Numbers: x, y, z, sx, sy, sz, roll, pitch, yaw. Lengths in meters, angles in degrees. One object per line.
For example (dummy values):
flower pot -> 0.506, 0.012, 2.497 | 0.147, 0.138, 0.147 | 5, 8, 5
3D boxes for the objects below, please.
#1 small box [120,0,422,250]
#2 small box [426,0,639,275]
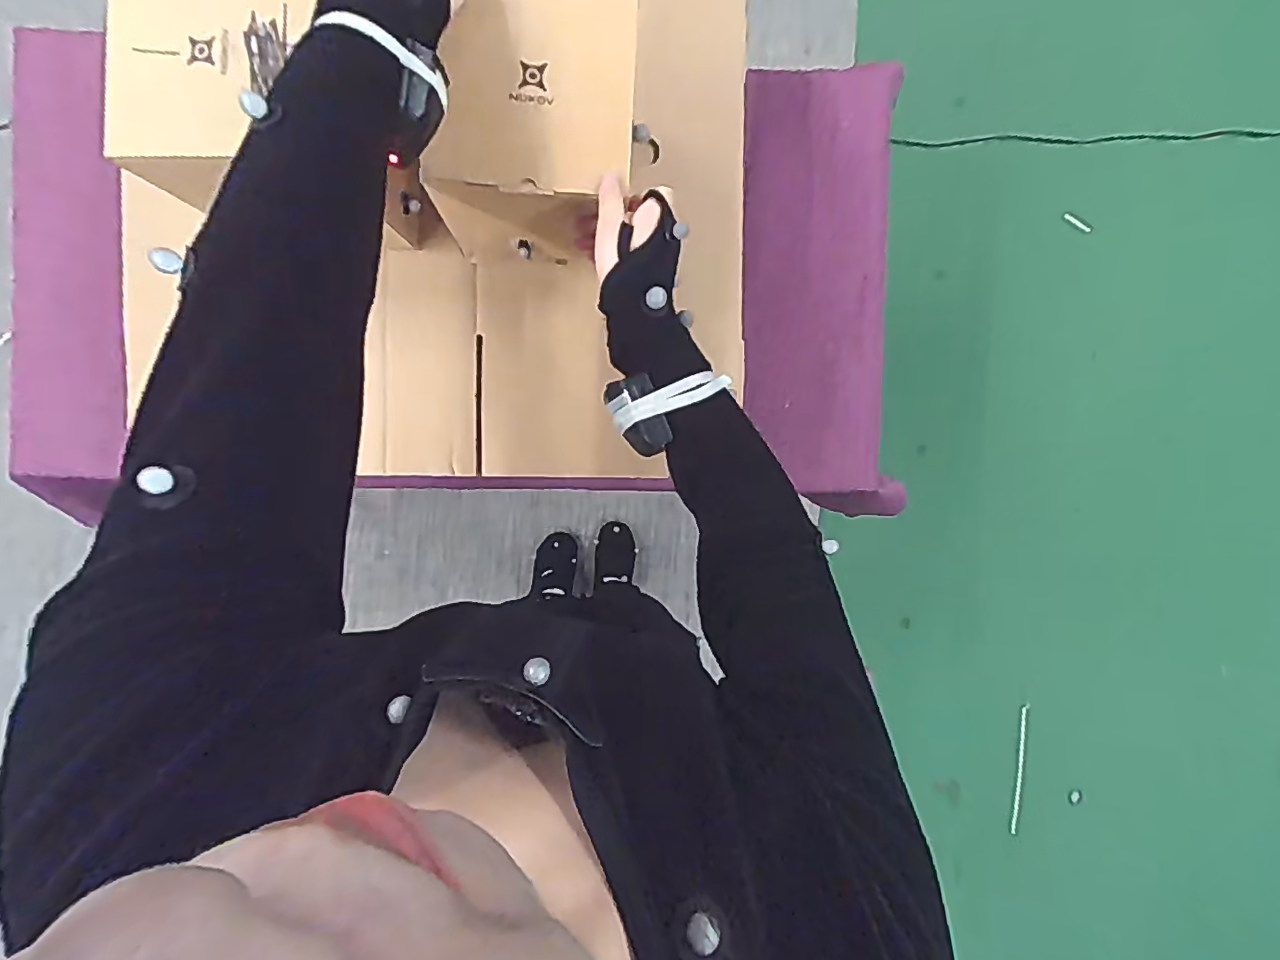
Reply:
small box -> -0.325, -0.332, 0.508 | 0.179, 0.176, 0.168 | 2, 91, 4
small box -> -0.095, -0.319, 0.520 | 0.168, 0.176, 0.179 | 3, 92, -5
